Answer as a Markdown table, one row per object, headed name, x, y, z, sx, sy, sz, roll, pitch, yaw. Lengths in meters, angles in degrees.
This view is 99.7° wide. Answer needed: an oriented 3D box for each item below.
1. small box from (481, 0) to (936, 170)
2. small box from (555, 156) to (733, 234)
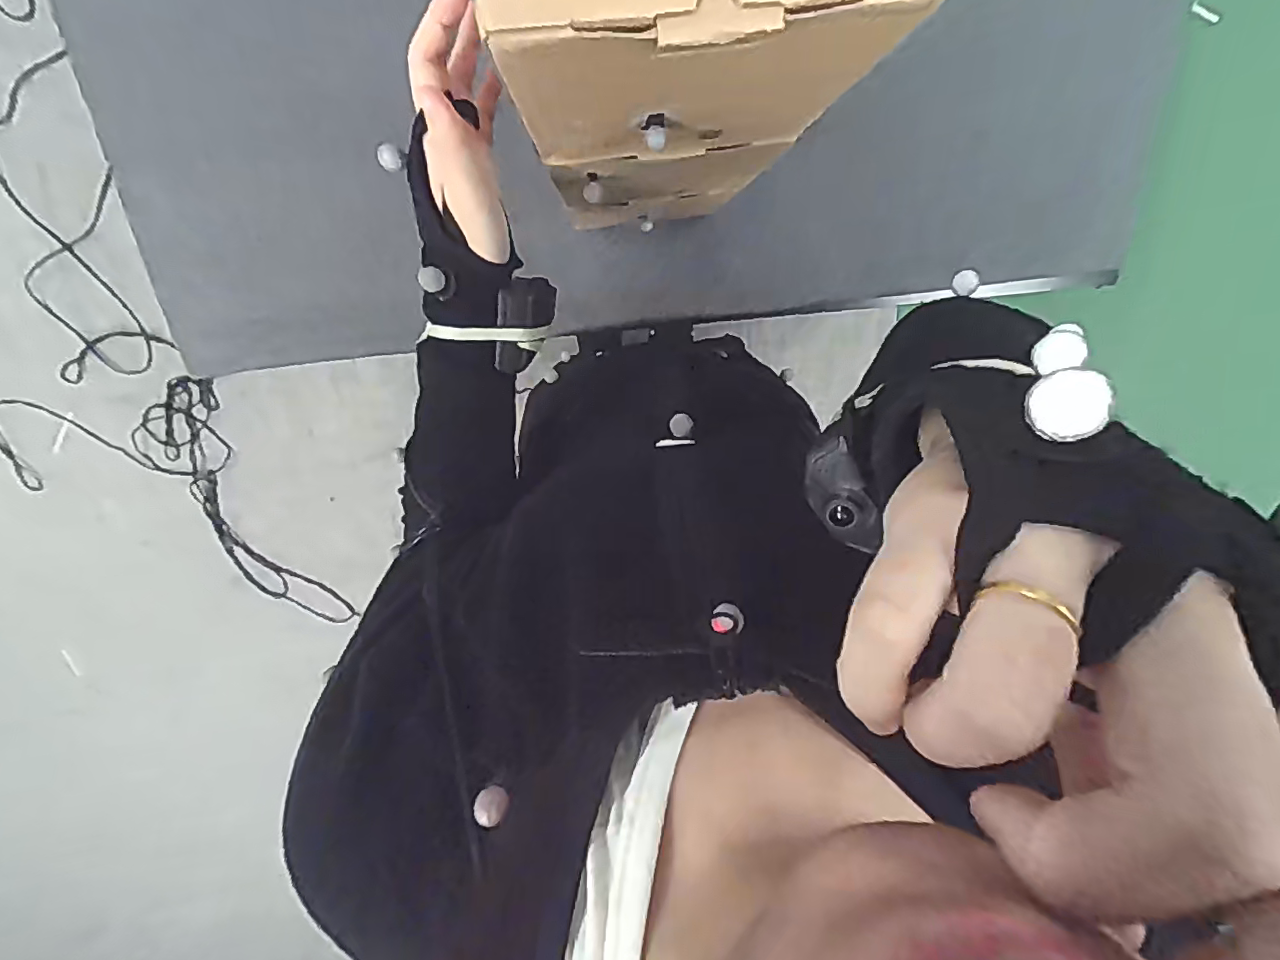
| name | x | y | z | sx | sy | sz | roll | pitch | yaw |
| --- | --- | --- | --- | --- | --- | --- | --- | --- | --- |
| small box | 0.012 | -0.264 | 0.245 | 0.168 | 0.176 | 0.179 | -7 | 109 | -2 |
| small box | -0.006 | -0.364 | 0.555 | 0.168 | 0.176 | 0.179 | -7 | 109 | -1 |
